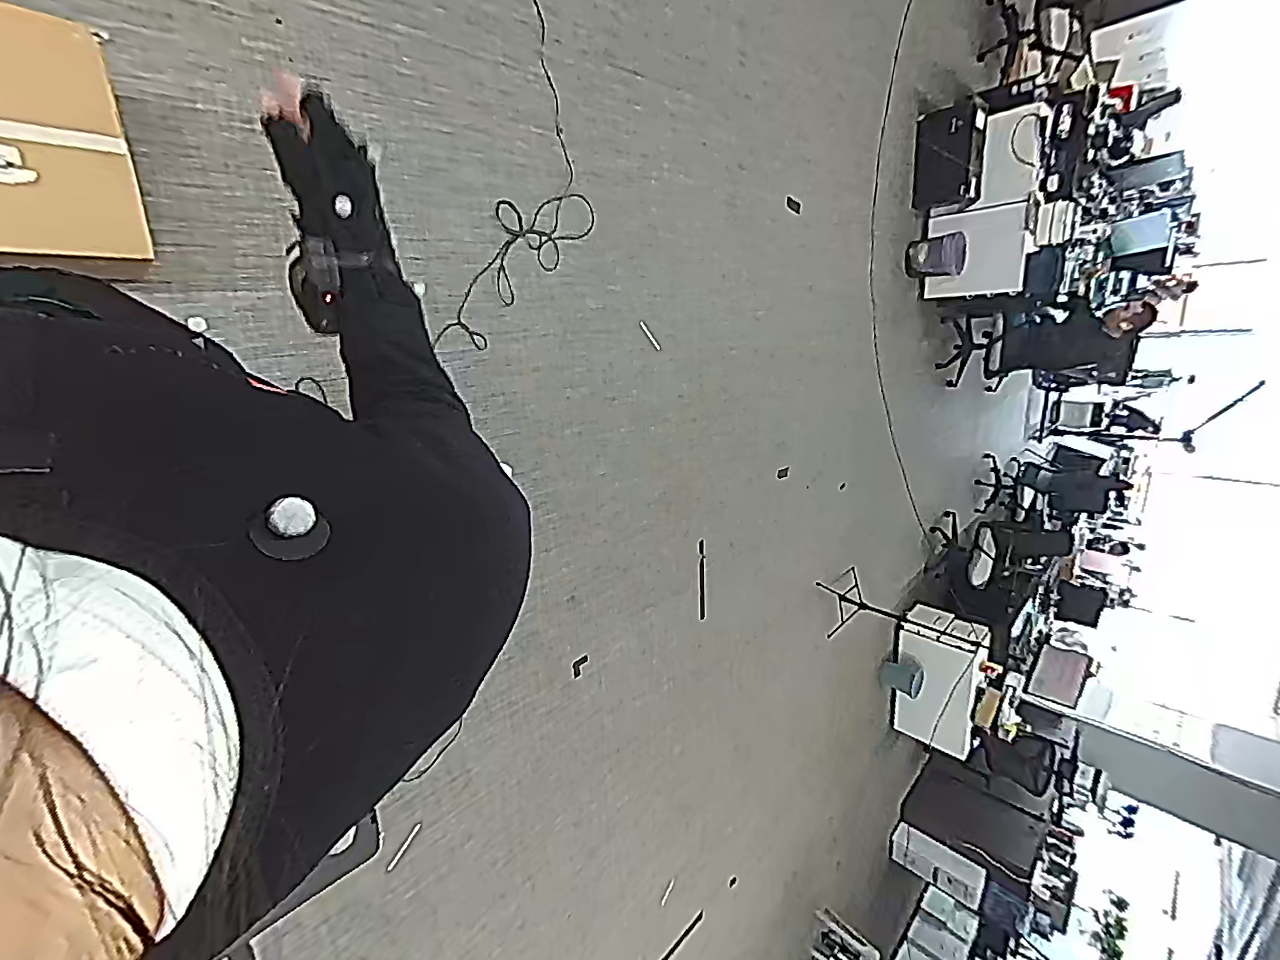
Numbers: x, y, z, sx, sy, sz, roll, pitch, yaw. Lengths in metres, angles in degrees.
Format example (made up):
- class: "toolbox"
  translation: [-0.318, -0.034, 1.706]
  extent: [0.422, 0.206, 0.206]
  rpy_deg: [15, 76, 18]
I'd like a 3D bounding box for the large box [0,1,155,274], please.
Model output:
- class: "large box"
  translation: [-1.018, -0.482, 0.782]
  extent: [0.408, 0.320, 0.320]
  rpy_deg: [-17, 111, -43]
